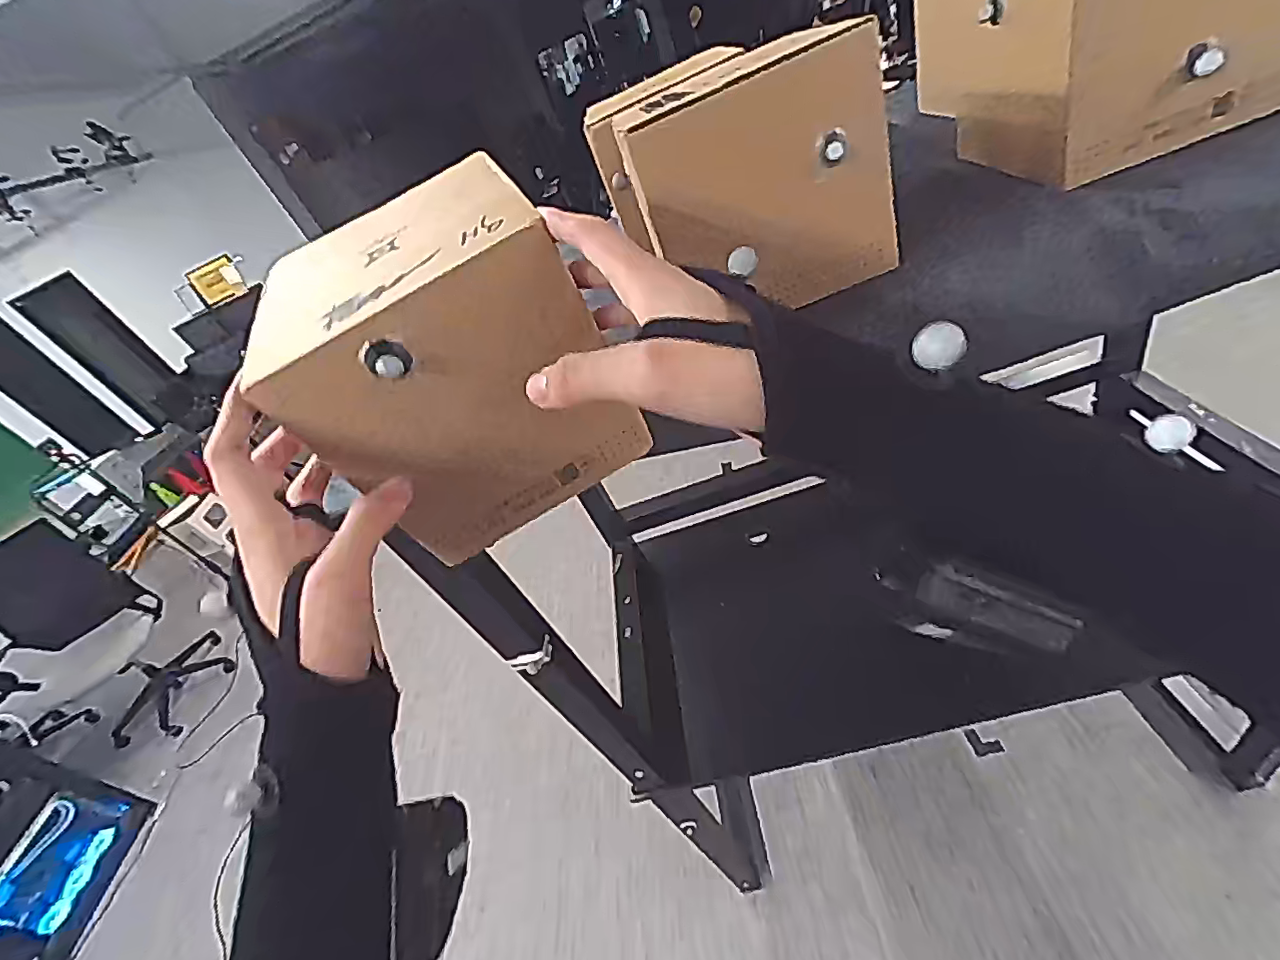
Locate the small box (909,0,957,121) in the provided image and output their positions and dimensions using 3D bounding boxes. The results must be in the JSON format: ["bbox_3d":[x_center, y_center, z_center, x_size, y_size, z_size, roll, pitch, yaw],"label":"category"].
[{"bbox_3d":[0.415,-0.512,0.584,0.168,0.176,0.179,-20,38,8],"label":"small box"}]

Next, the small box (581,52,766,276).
[{"bbox_3d":[0.043,-0.379,0.656,0.179,0.176,0.168,-19,38,11],"label":"small box"}]

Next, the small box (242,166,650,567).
[{"bbox_3d":[-0.116,-0.075,0.368,0.168,0.176,0.179,-31,45,0],"label":"small box"}]
